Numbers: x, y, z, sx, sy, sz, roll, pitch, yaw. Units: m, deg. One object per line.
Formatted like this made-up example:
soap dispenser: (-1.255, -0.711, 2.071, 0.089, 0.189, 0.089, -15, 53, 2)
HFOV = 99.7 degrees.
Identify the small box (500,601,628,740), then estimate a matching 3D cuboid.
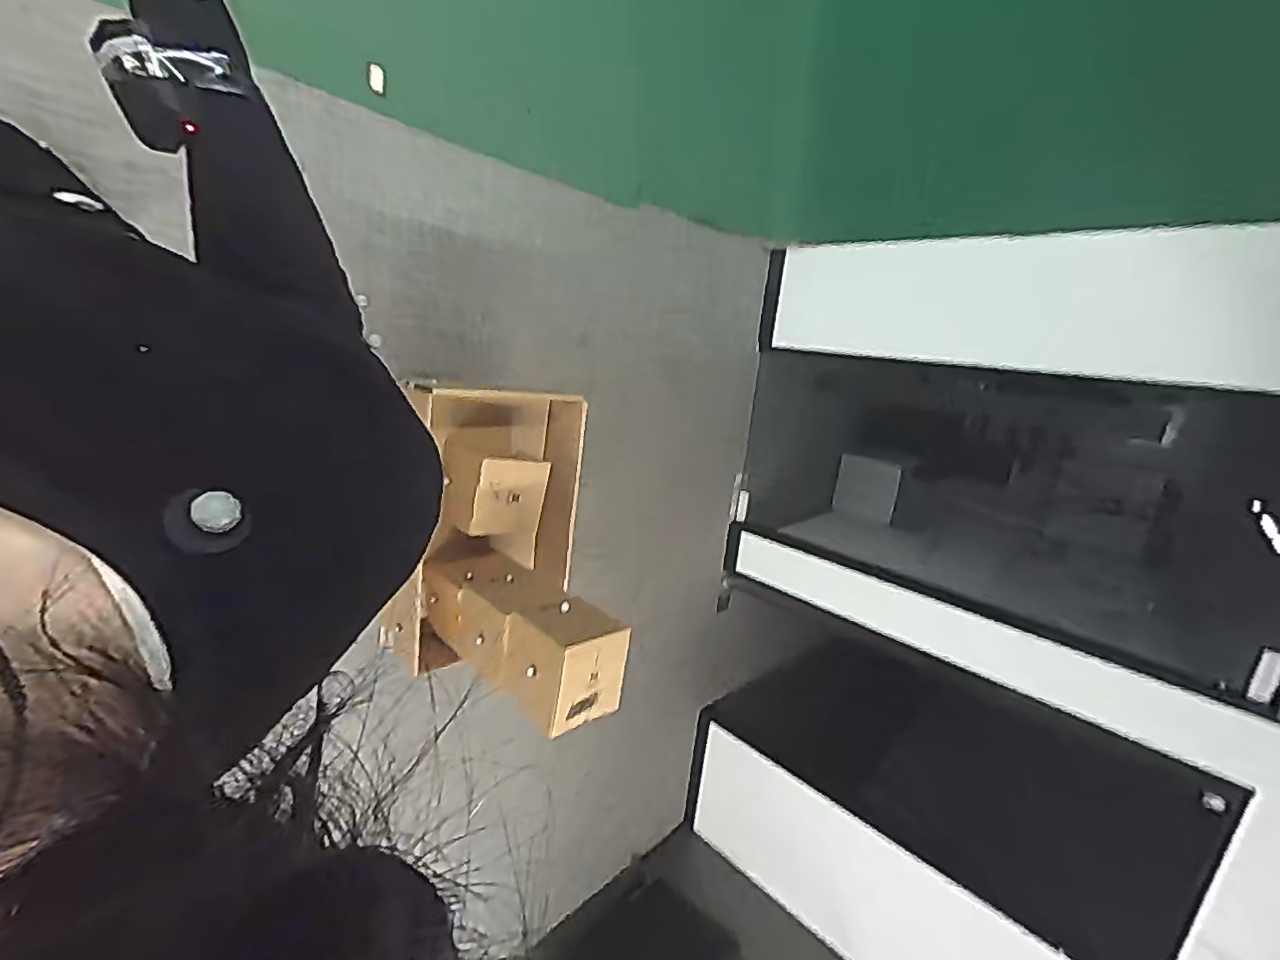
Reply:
small box: (-0.151, 0.355, 1.043, 0.168, 0.176, 0.179, 0, 104, -47)
